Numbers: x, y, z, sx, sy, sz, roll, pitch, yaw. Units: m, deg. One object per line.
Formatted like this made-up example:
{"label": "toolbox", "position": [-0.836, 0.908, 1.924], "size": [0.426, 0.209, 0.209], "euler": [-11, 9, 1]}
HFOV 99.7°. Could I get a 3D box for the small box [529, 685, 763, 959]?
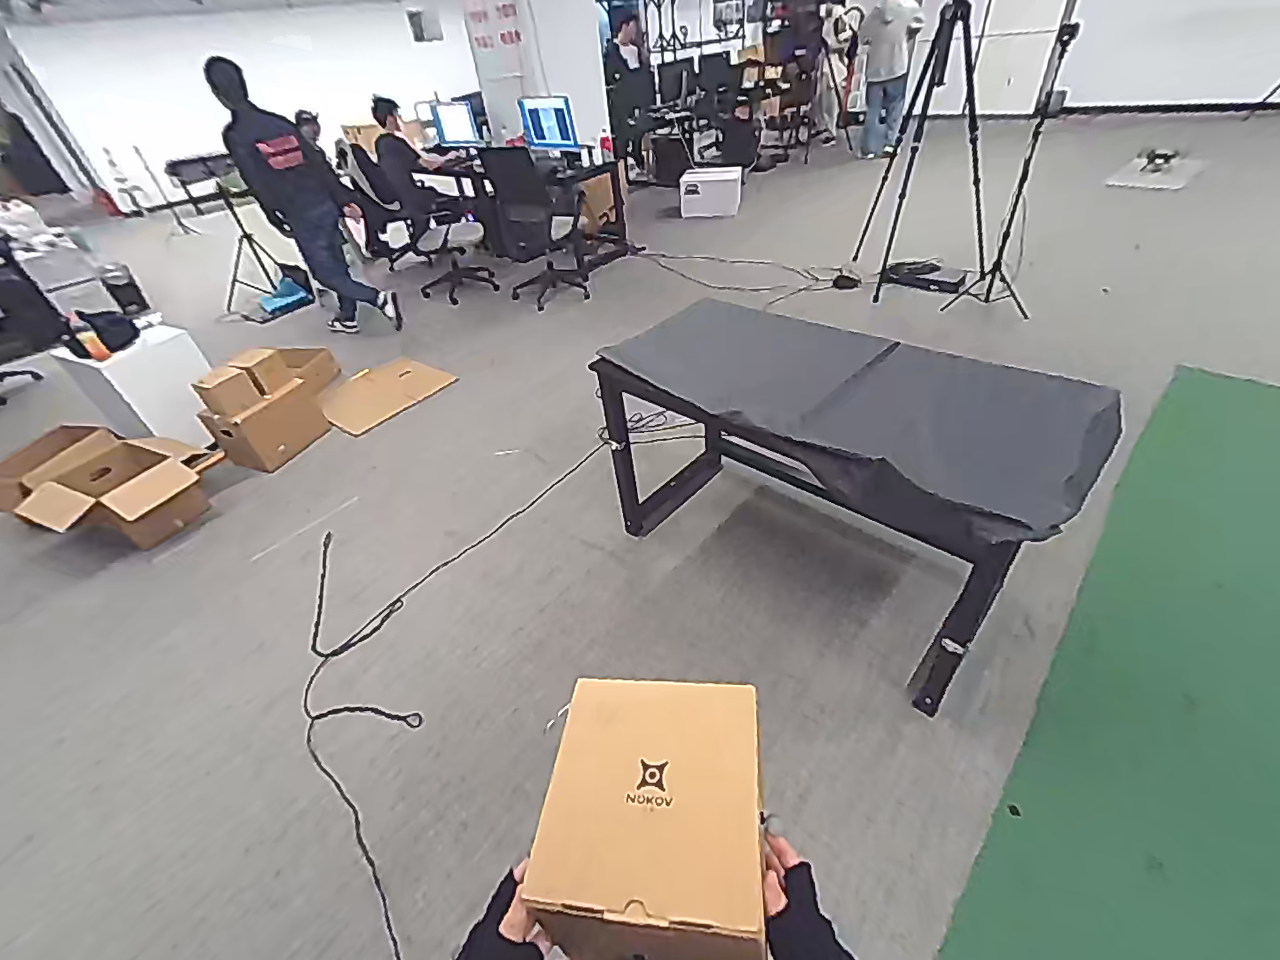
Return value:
{"label": "small box", "position": [0.023, 0.310, 0.481], "size": [0.168, 0.176, 0.179], "euler": [-2, 38, 12]}
